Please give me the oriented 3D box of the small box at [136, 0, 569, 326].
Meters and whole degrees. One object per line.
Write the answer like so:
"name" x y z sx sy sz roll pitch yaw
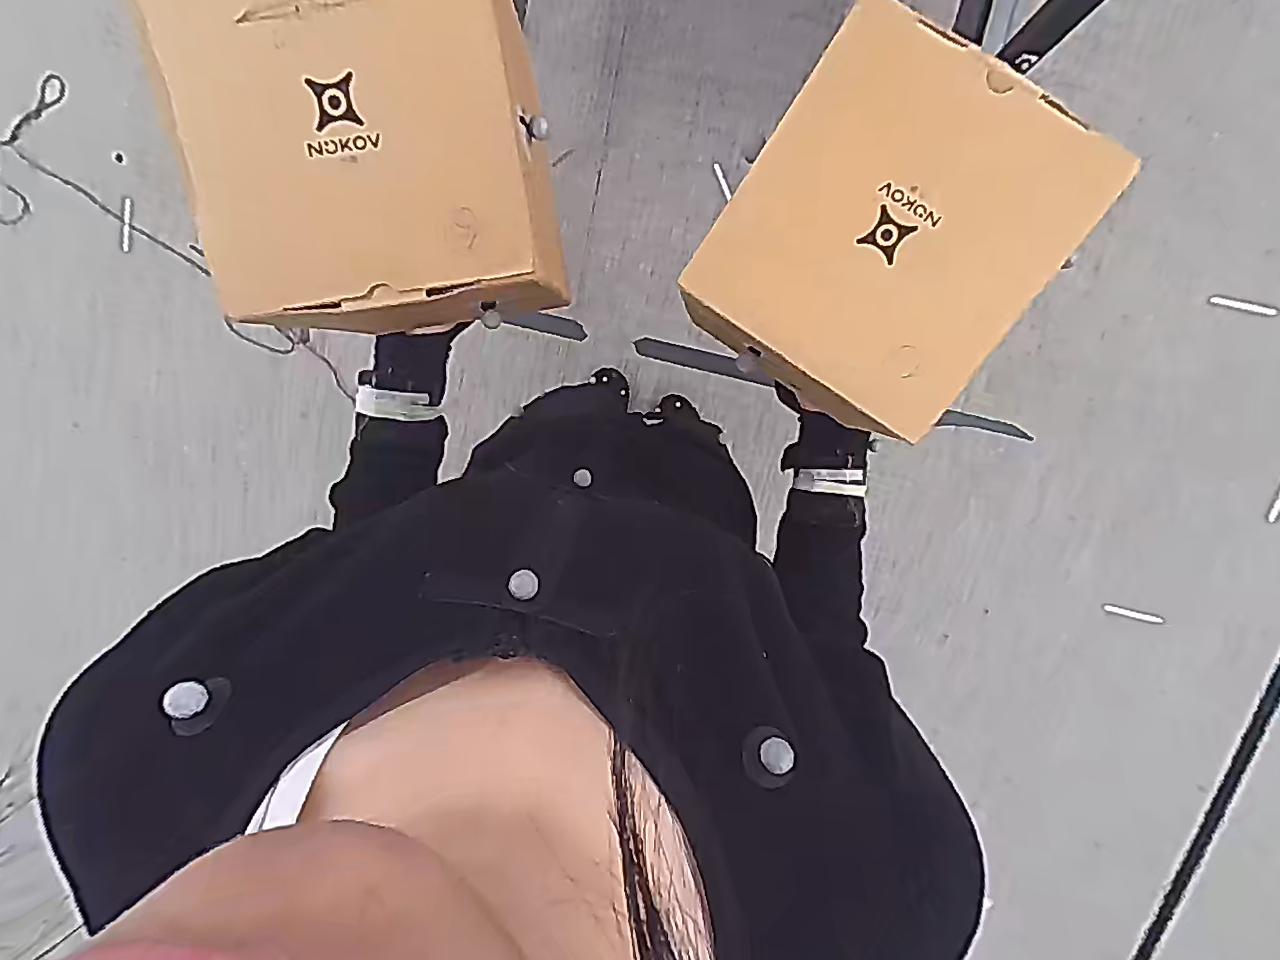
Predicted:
"small box" -0.144 -0.196 0.338 0.168 0.176 0.179 -9 102 0

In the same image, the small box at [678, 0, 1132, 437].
"small box" 0.146 -0.149 0.368 0.168 0.176 0.179 35 101 2
